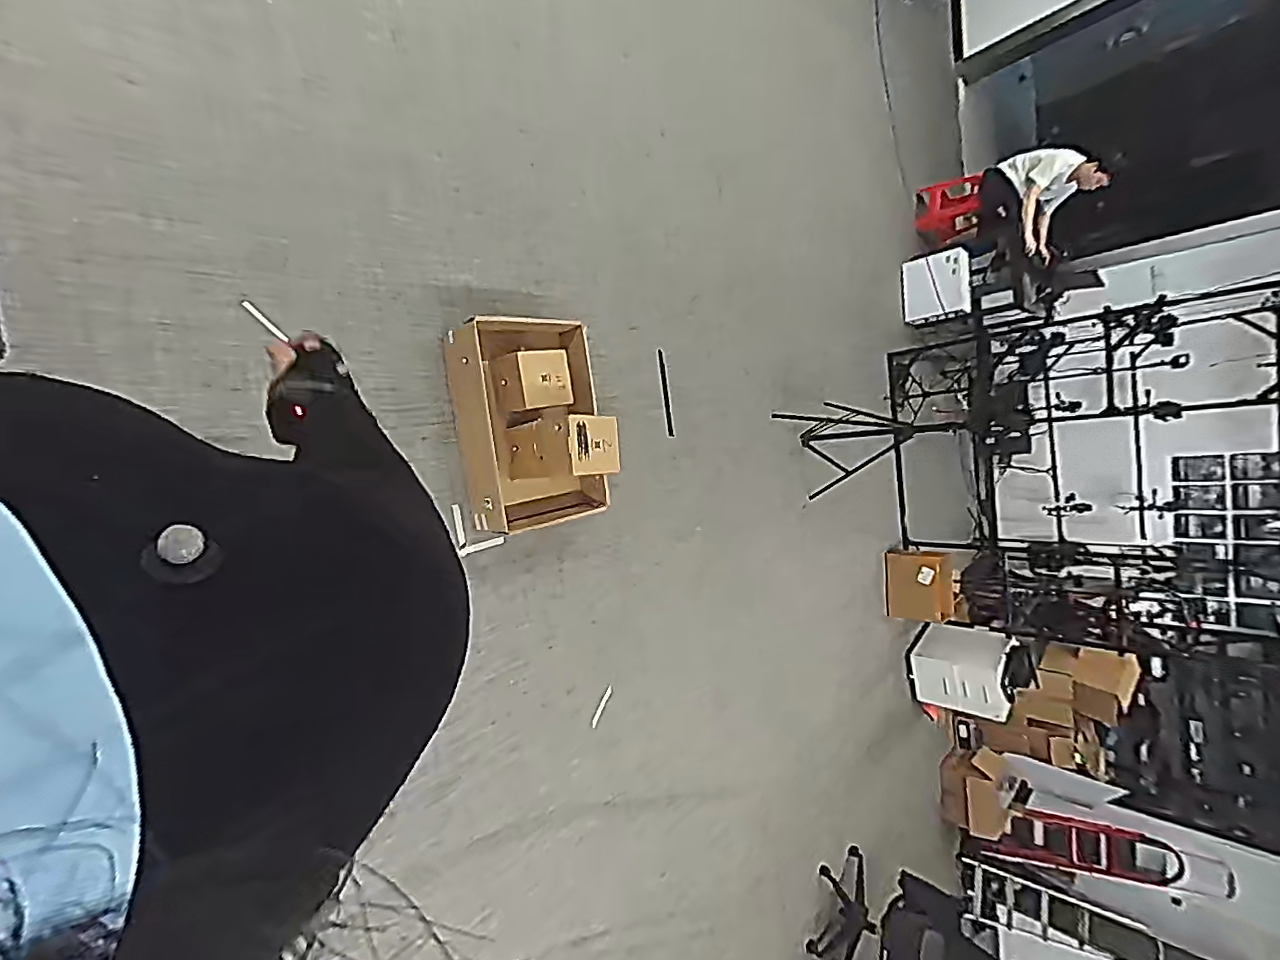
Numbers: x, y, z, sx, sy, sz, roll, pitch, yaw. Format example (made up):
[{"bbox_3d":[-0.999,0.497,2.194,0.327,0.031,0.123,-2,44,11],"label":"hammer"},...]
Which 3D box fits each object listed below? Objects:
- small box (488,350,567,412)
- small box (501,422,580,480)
[{"bbox_3d":[-0.350,-0.301,1.653,0.179,0.176,0.168,-15,102,-44],"label":"small box"},{"bbox_3d":[-0.313,-0.090,1.690,0.179,0.176,0.168,-6,91,-44],"label":"small box"}]
